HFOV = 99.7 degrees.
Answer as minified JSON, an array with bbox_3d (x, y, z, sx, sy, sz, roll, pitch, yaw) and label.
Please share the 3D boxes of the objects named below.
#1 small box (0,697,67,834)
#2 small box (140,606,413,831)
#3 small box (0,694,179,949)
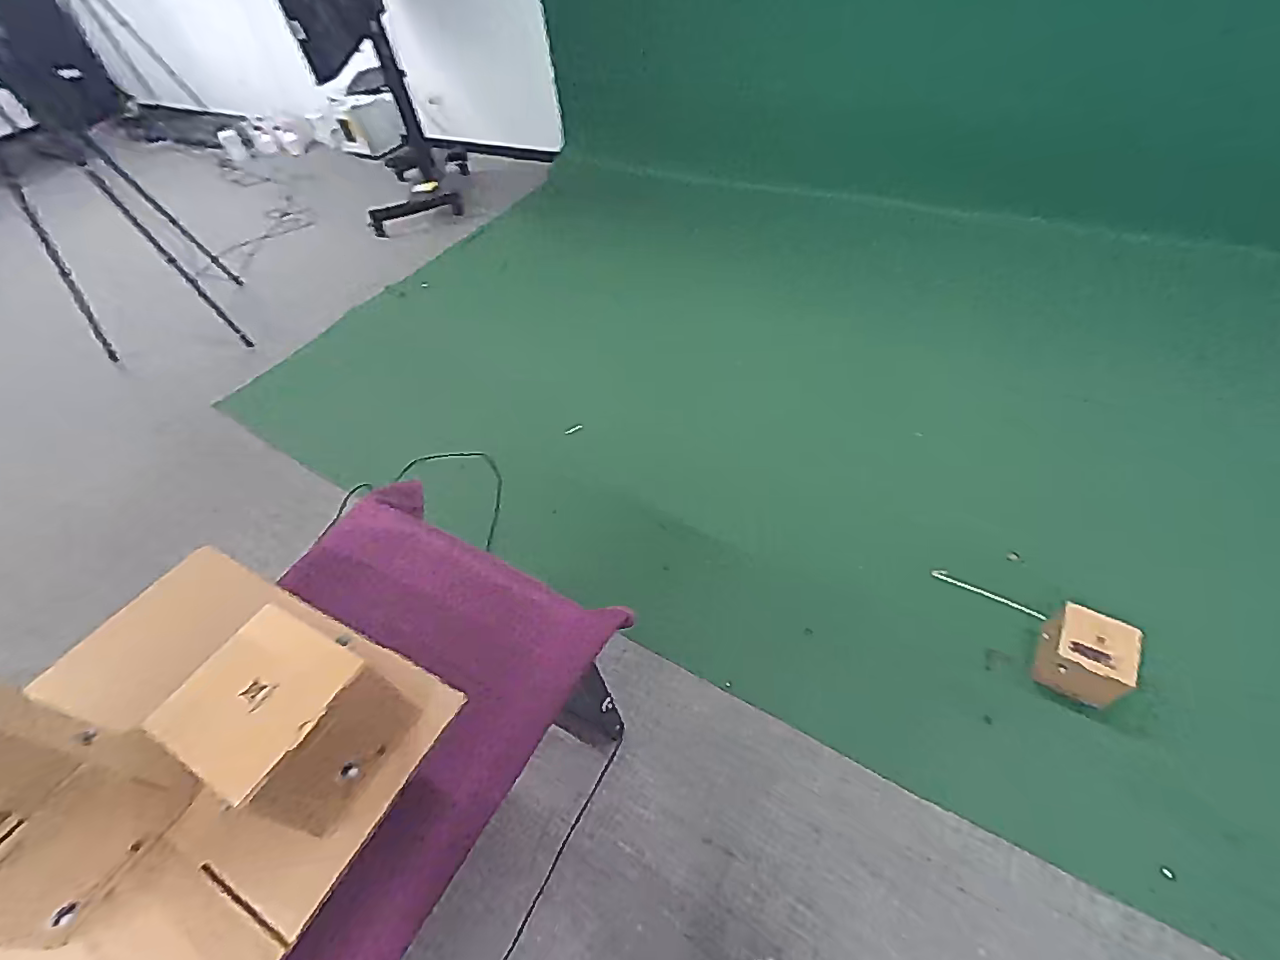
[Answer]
[{"bbox_3d":[-0.690,0.264,0.472,0.179,0.176,0.168,19,53,20],"label":"small box"},{"bbox_3d":[-0.415,0.287,0.648,0.179,0.176,0.168,19,53,20],"label":"small box"},{"bbox_3d":[-0.675,0.374,0.593,0.179,0.176,0.168,18,52,21],"label":"small box"}]
